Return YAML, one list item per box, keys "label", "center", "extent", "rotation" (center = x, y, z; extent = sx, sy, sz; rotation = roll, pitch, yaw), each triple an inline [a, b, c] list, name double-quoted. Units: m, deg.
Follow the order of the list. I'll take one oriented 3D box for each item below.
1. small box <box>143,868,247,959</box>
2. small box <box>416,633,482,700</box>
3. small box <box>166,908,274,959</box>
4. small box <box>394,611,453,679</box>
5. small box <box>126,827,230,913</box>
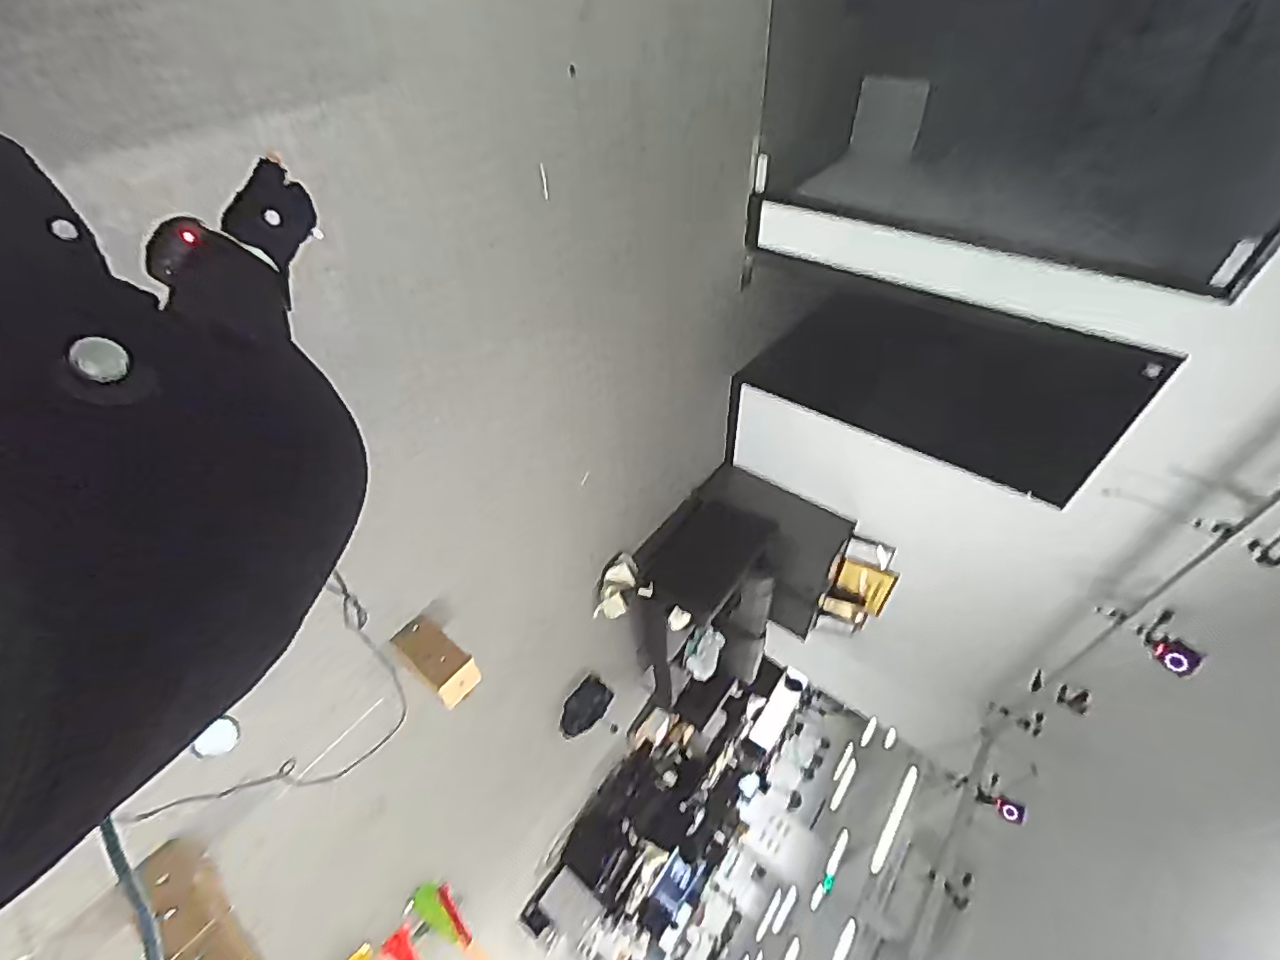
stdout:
- label: "small box"
  center: [-1.376, 1.350, 1.677]
  extent: [0.168, 0.176, 0.179]
  rotation: [-41, 147, -33]
- label: "small box"
  center: [-0.768, 0.740, 2.172]
  extent: [0.168, 0.176, 0.179]
  rotation: [-42, 148, -35]
- label: "small box"
  center: [-1.248, 1.426, 1.610]
  extent: [0.168, 0.176, 0.179]
  rotation: [-42, 147, -33]
- label: "small box"
  center: [-0.883, 0.679, 2.242]
  extent: [0.168, 0.176, 0.179]
  rotation: [-40, 147, -36]
- label: "small box"
  center: [-1.500, 1.275, 1.755]
  extent: [0.179, 0.176, 0.168]
  rotation: [-43, 148, -33]
